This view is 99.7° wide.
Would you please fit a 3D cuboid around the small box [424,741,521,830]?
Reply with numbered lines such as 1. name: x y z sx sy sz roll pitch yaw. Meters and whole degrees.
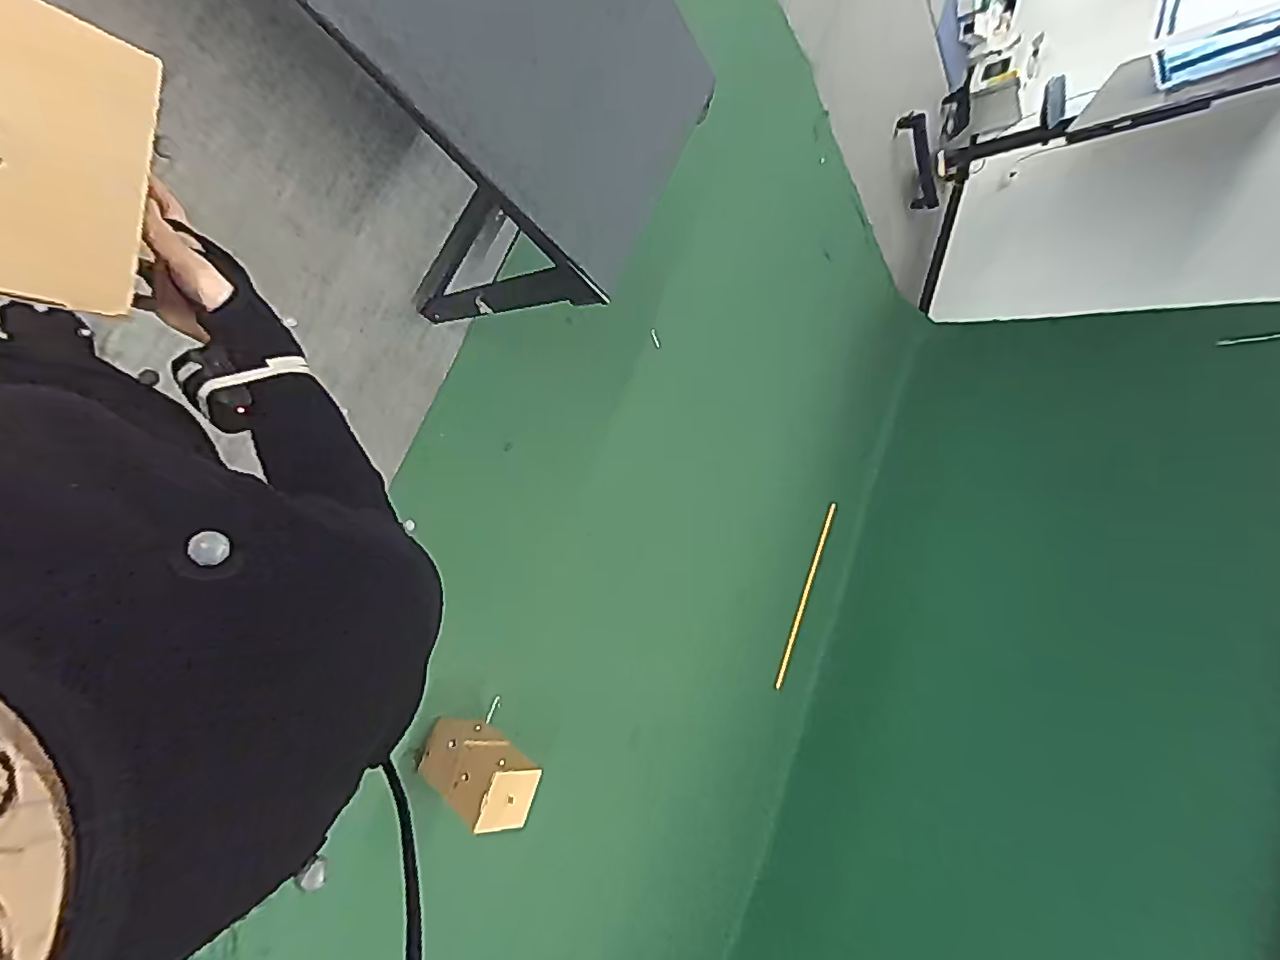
1. small box: -0.486 0.876 1.569 0.179 0.176 0.168 30 76 -47
